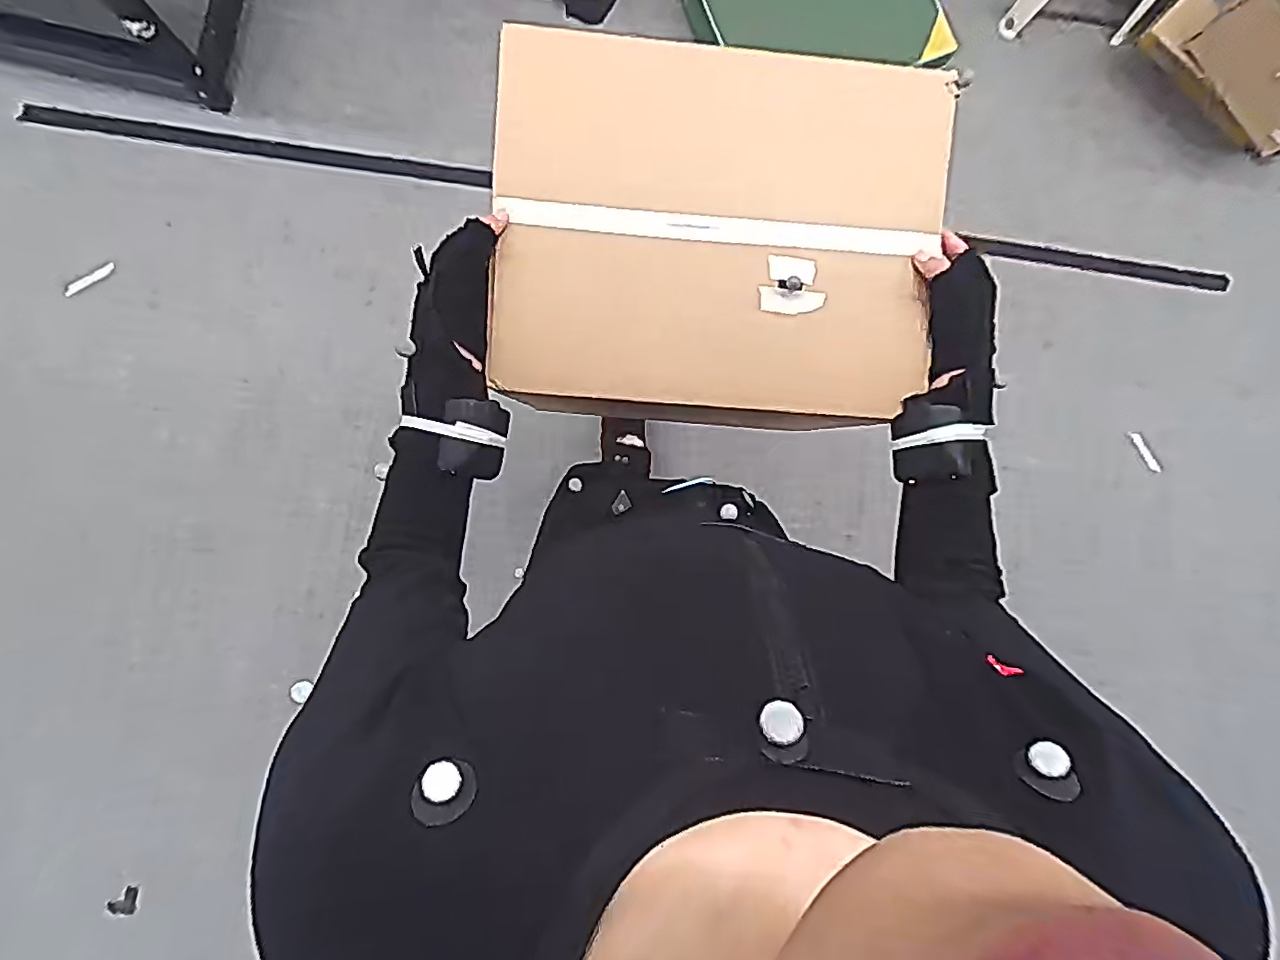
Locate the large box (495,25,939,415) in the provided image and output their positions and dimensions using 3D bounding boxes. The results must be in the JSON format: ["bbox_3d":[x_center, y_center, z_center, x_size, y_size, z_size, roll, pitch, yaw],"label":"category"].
[{"bbox_3d":[0.061,-0.250,0.646,0.408,0.320,0.320,4,95,-4],"label":"large box"}]
